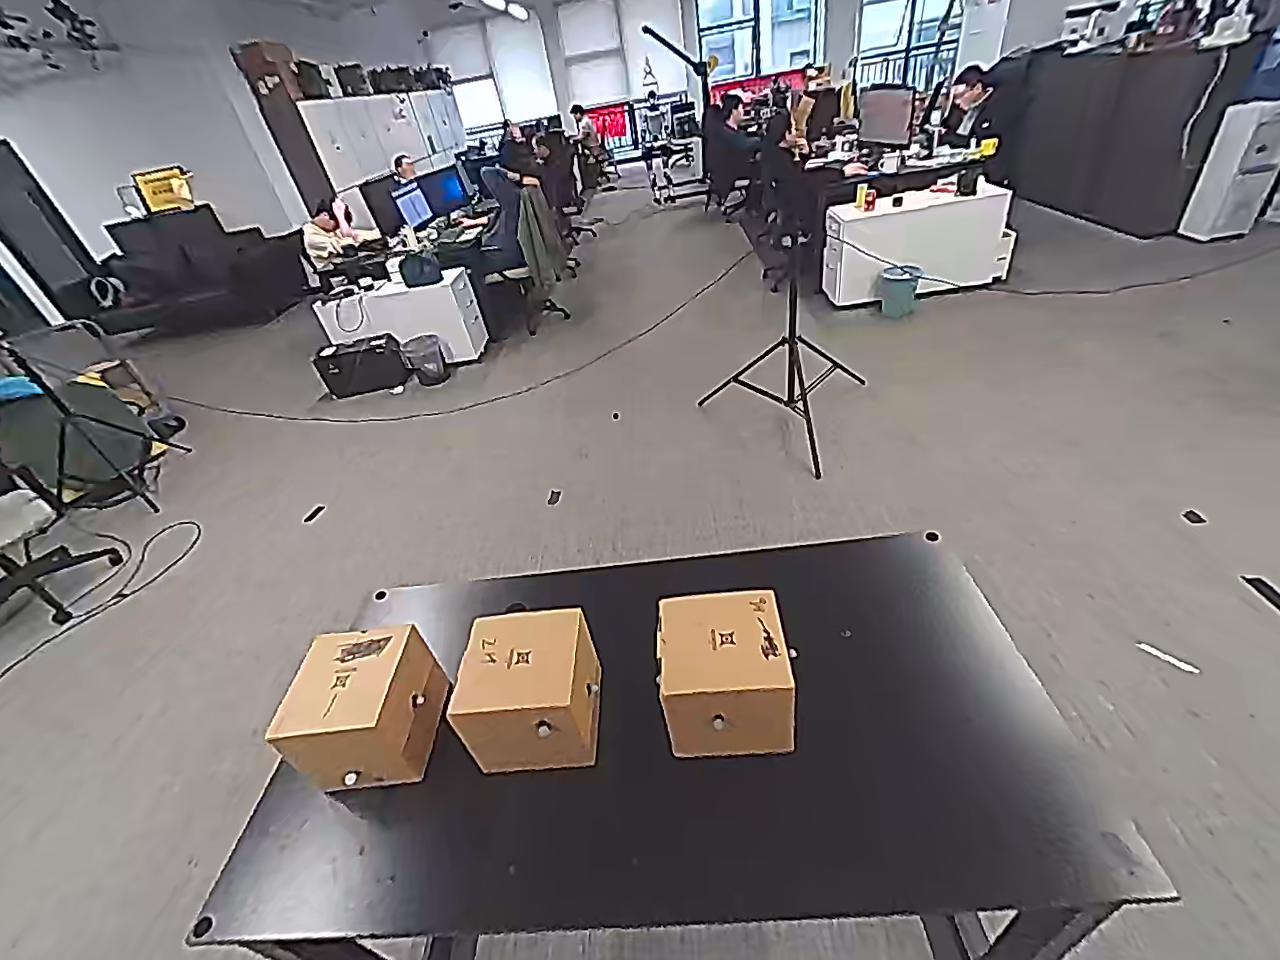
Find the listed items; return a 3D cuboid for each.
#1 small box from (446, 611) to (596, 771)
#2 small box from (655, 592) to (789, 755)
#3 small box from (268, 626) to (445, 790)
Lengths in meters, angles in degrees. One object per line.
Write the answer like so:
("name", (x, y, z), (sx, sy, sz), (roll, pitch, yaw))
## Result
("small box", (-0.168, 0.328, 0.838), (0.179, 0.176, 0.168), (-7, 36, 5))
("small box", (0.122, 0.293, 0.813), (0.179, 0.176, 0.168), (-7, 37, 7))
("small box", (-0.431, 0.362, 0.862), (0.168, 0.176, 0.179), (-8, 38, 4))
